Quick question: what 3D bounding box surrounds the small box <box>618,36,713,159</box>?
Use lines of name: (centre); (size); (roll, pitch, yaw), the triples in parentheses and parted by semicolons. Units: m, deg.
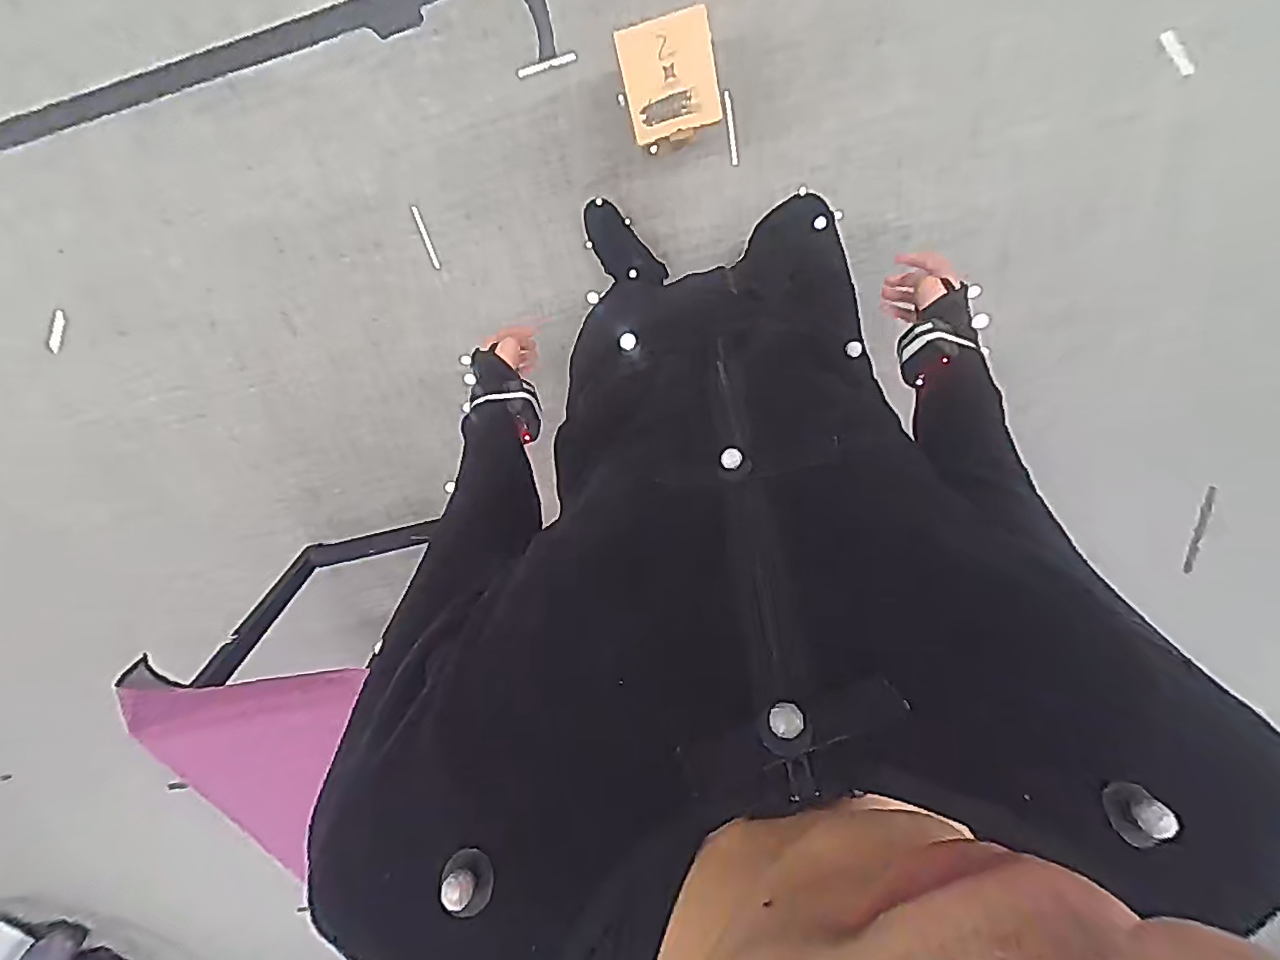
small box: (0.052, -0.828, 1.190); (0.168, 0.176, 0.179); (-15, 120, 7)
